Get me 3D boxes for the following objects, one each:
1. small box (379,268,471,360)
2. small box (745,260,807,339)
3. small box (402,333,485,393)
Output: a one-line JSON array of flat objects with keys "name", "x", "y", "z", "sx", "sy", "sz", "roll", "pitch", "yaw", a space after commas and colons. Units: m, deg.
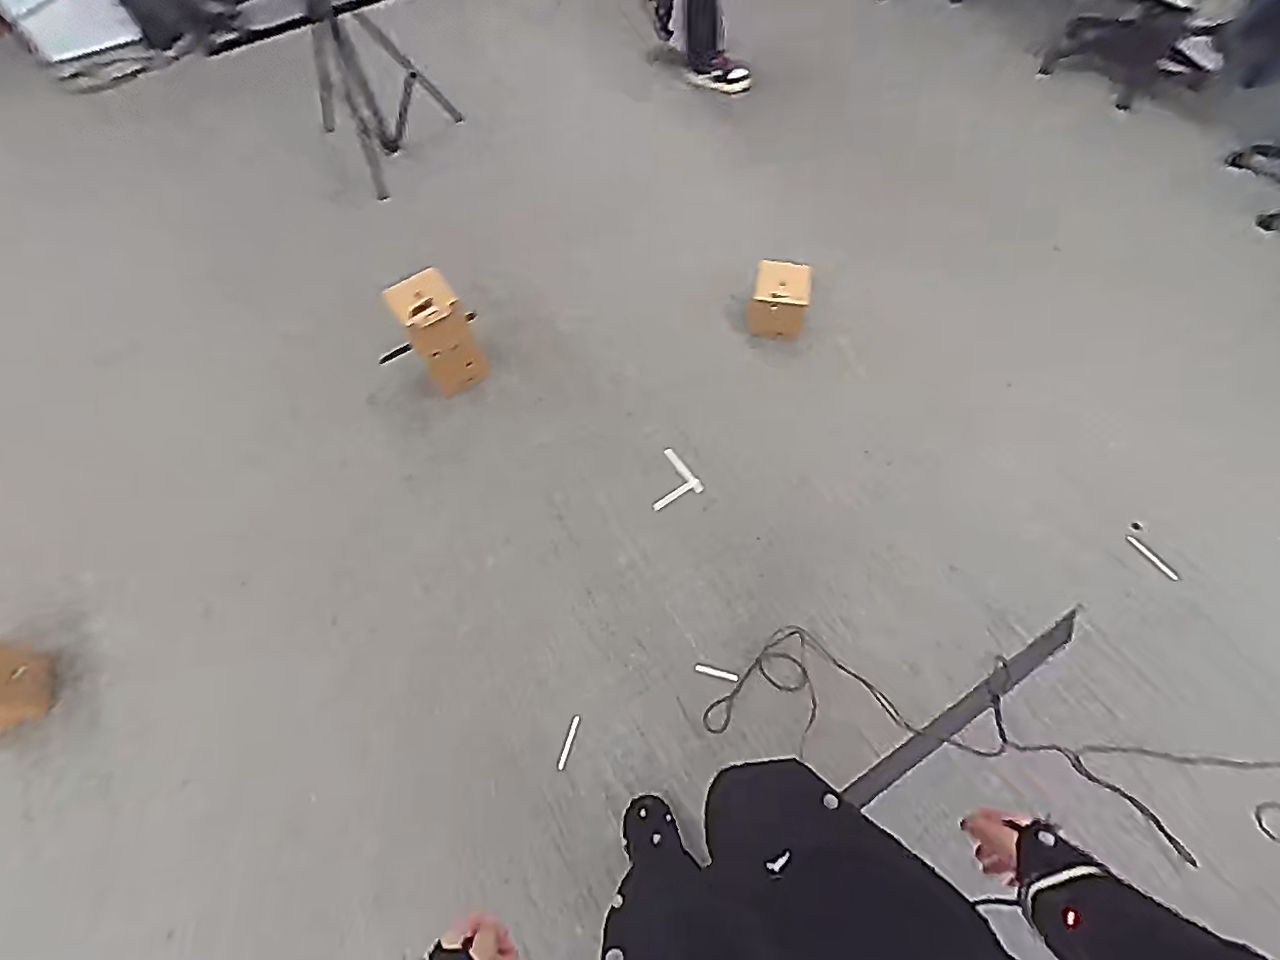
[{"name": "small box", "x": -0.633, "y": -0.484, "z": 1.611, "sx": 0.168, "sy": 0.176, "sz": 0.179, "roll": -34, "pitch": 66, "yaw": -14}, {"name": "small box", "x": 0.452, "y": -0.602, "z": 1.809, "sx": 0.168, "sy": 0.176, "sz": 0.179, "roll": 9, "pitch": 64, "yaw": 6}, {"name": "small box", "x": -0.632, "y": -0.407, "z": 1.757, "sx": 0.168, "sy": 0.176, "sz": 0.179, "roll": -35, "pitch": 66, "yaw": -15}]
